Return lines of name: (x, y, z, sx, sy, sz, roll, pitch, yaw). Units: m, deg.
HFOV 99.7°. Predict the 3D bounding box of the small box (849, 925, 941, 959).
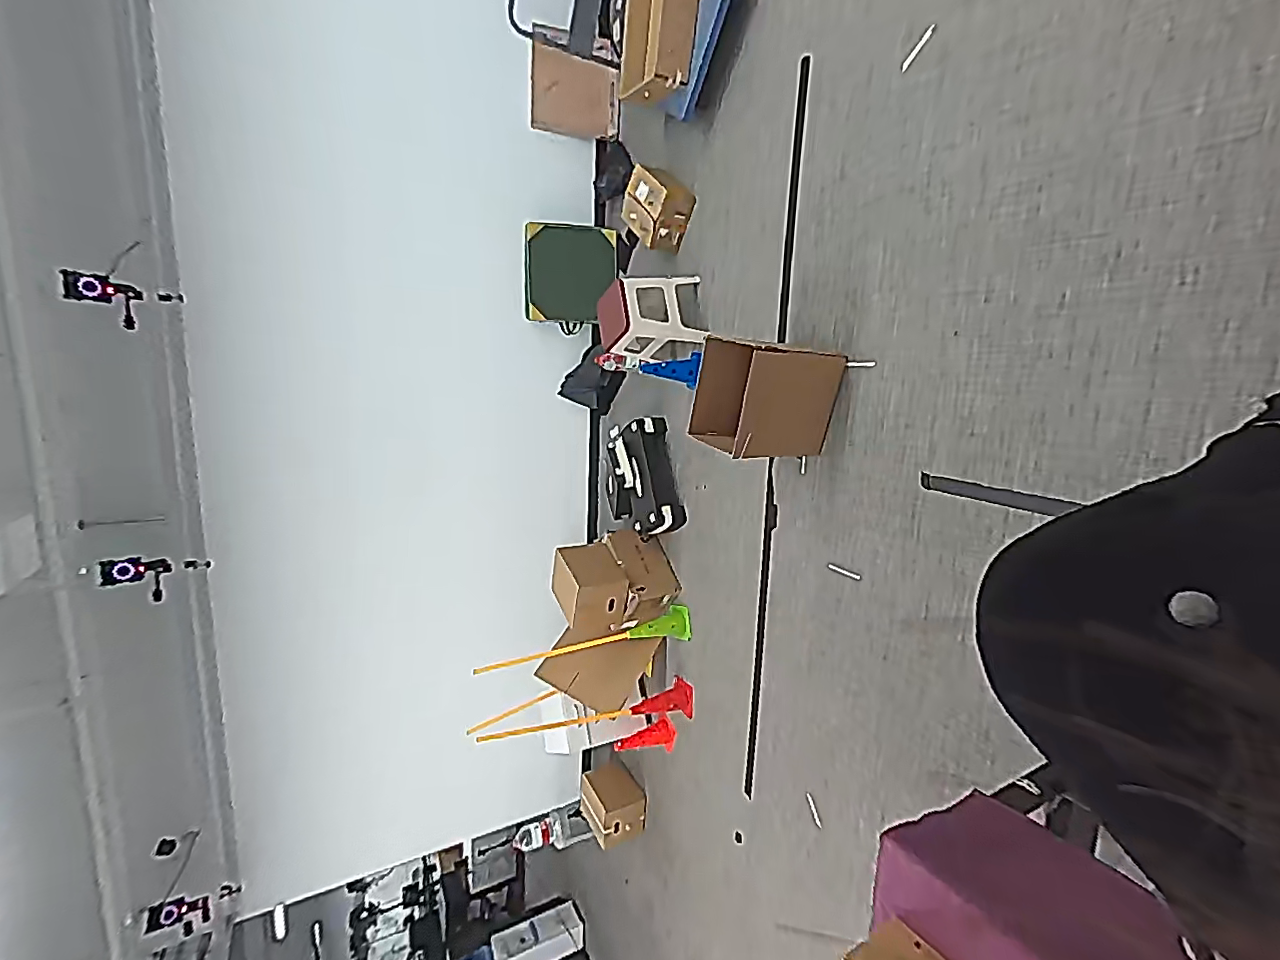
small box: (0.510, 1.006, 1.019, 0.168, 0.176, 0.179, 10, 103, 61)
